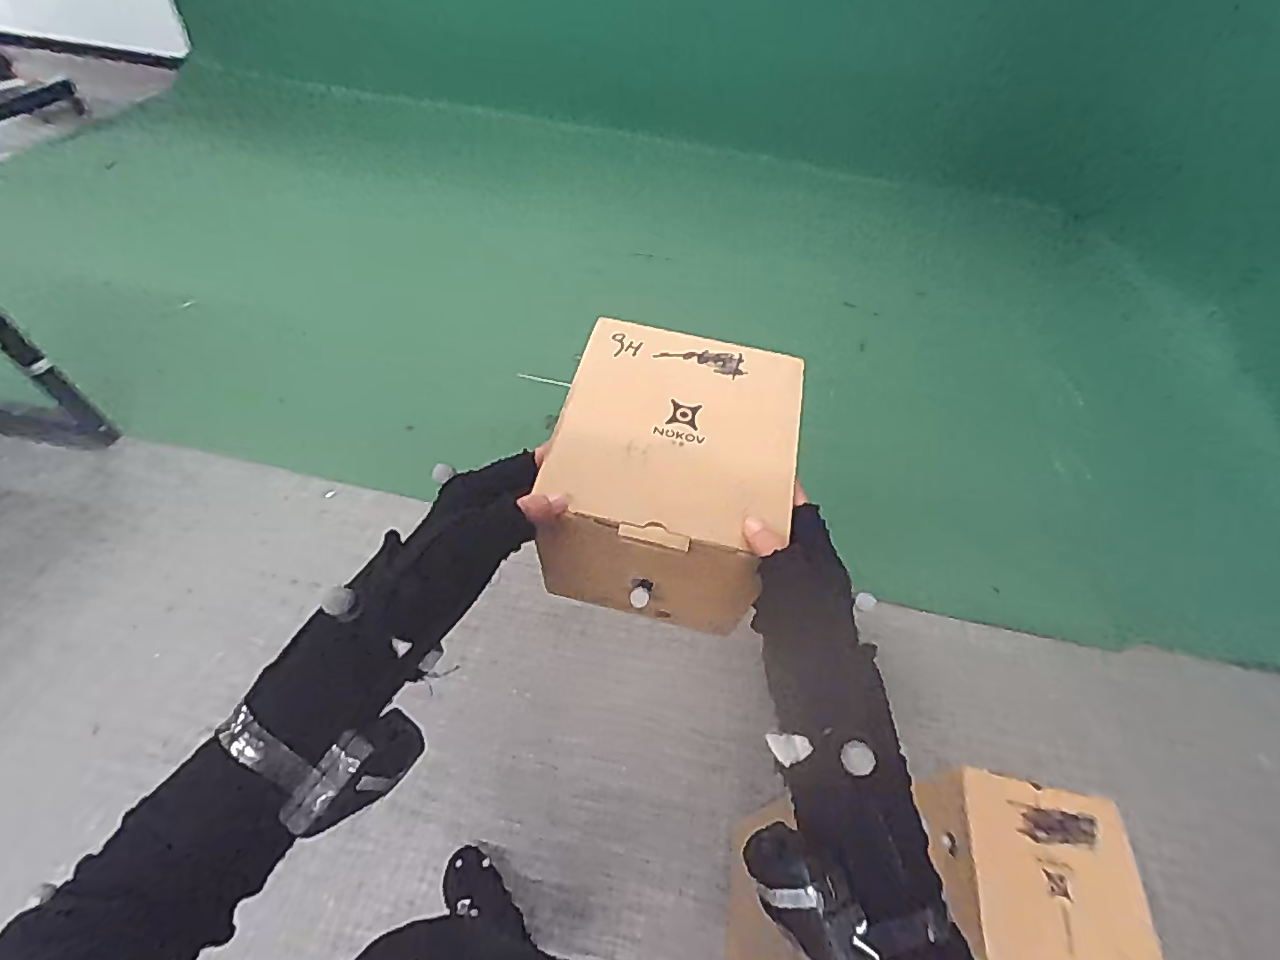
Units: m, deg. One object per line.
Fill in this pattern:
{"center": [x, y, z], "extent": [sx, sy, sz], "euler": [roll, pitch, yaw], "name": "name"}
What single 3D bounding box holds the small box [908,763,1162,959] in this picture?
{"center": [0.421, 0.451, 0.612], "extent": [0.168, 0.176, 0.179], "euler": [10, 52, 8], "name": "small box"}
